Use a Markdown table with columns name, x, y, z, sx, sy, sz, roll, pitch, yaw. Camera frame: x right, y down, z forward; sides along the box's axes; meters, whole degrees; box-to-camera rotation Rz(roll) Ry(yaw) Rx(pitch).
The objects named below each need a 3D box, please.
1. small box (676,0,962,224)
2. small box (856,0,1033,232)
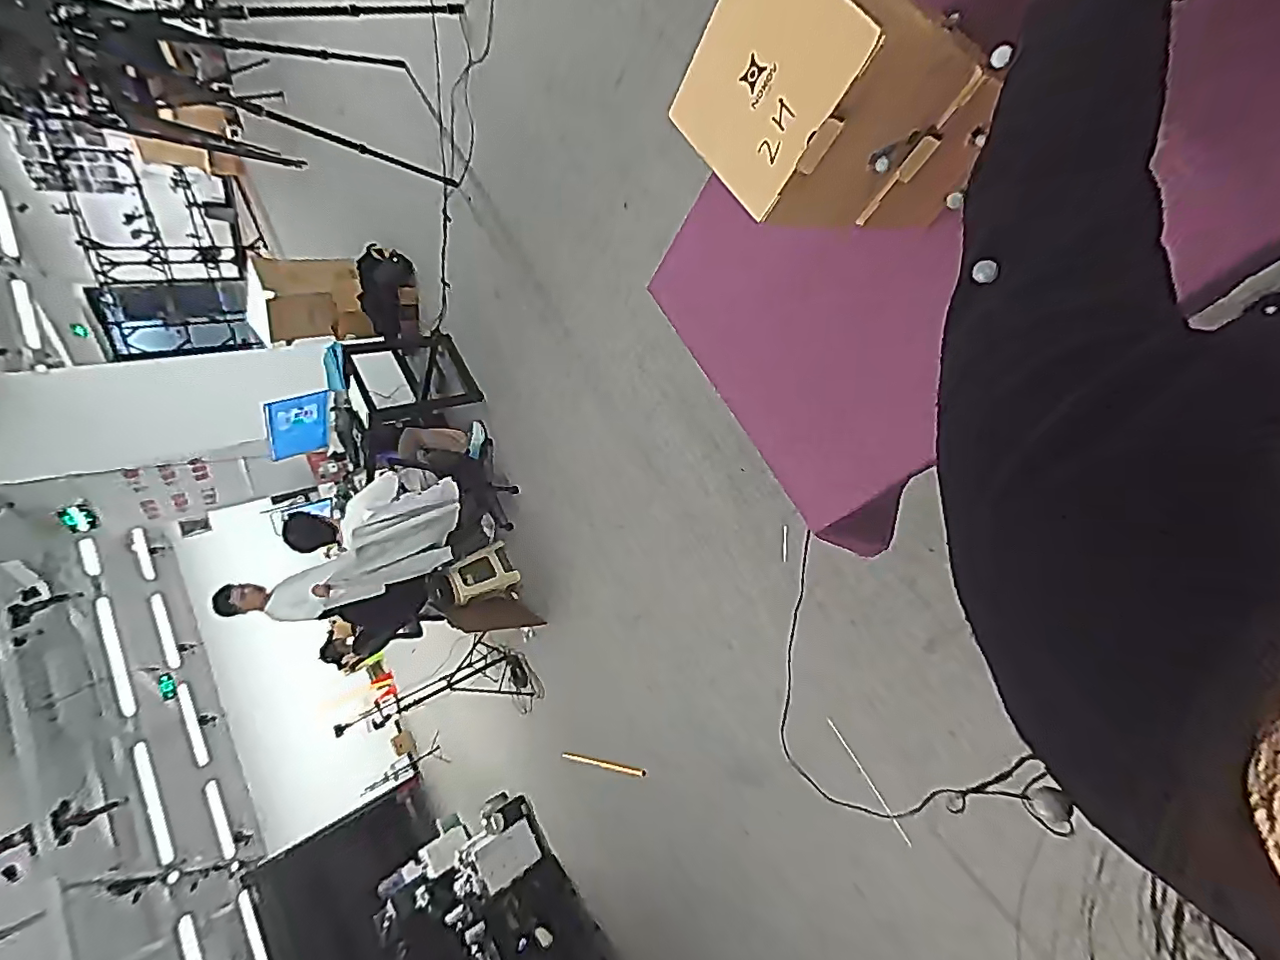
| name | x | y | z | sx | sy | sz | roll | pitch | yaw |
| --- | --- | --- | --- | --- | --- | --- | --- | --- | --- |
| small box | 0.174 | -0.380 | 0.546 | 0.179 | 0.176 | 0.168 | 59 | 141 | 17 |
| small box | 0.309 | -0.419 | 0.634 | 0.179 | 0.176 | 0.168 | 60 | 141 | 17 |
